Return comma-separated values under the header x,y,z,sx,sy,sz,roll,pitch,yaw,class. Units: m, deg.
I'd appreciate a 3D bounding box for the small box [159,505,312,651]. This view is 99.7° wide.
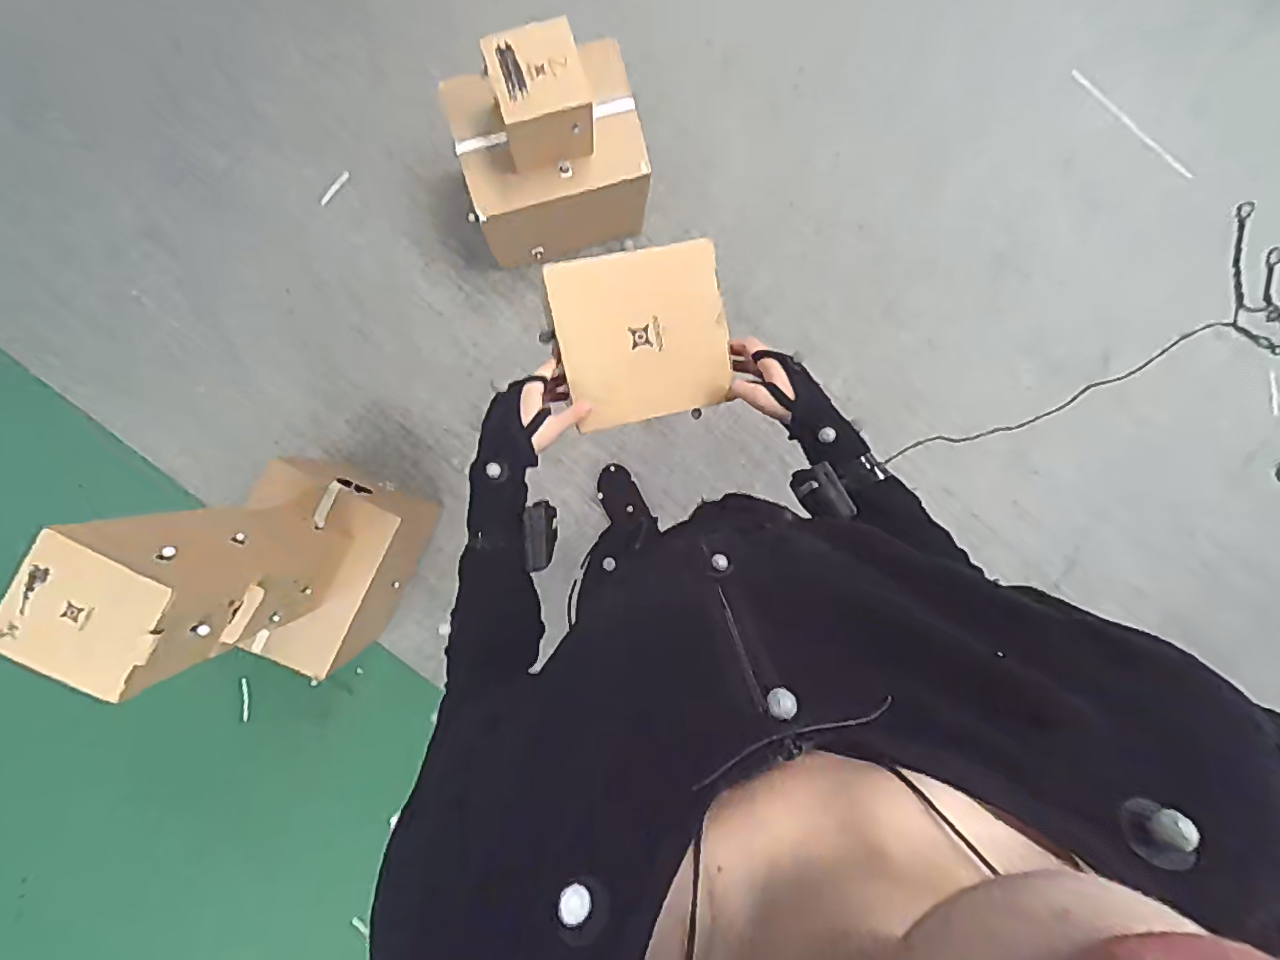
x,y,z,sx,sy,sz,roll,pitch,yaw,class
-0.705,0.152,0.915,0.179,0.176,0.168,31,89,-5,small box

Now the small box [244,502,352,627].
x,y,z,sx,sy,sz,roll,pitch,yaw,class
-0.716,0.159,1.078,0.168,0.176,0.179,29,89,-5,small box

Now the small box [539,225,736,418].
x,y,z,sx,sy,sz,roll,pitch,yaw,class
-0.012,-0.169,0.614,0.179,0.176,0.168,-13,103,-9,small box

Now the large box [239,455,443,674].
x,y,z,sx,sy,sz,roll,pitch,yaw,class
-0.741,0.177,1.322,0.320,0.320,0.408,25,91,-3,large box

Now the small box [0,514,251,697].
x,y,z,sx,sy,sz,roll,pitch,yaw,class
-0.698,0.159,0.750,0.179,0.176,0.168,29,89,-6,small box
